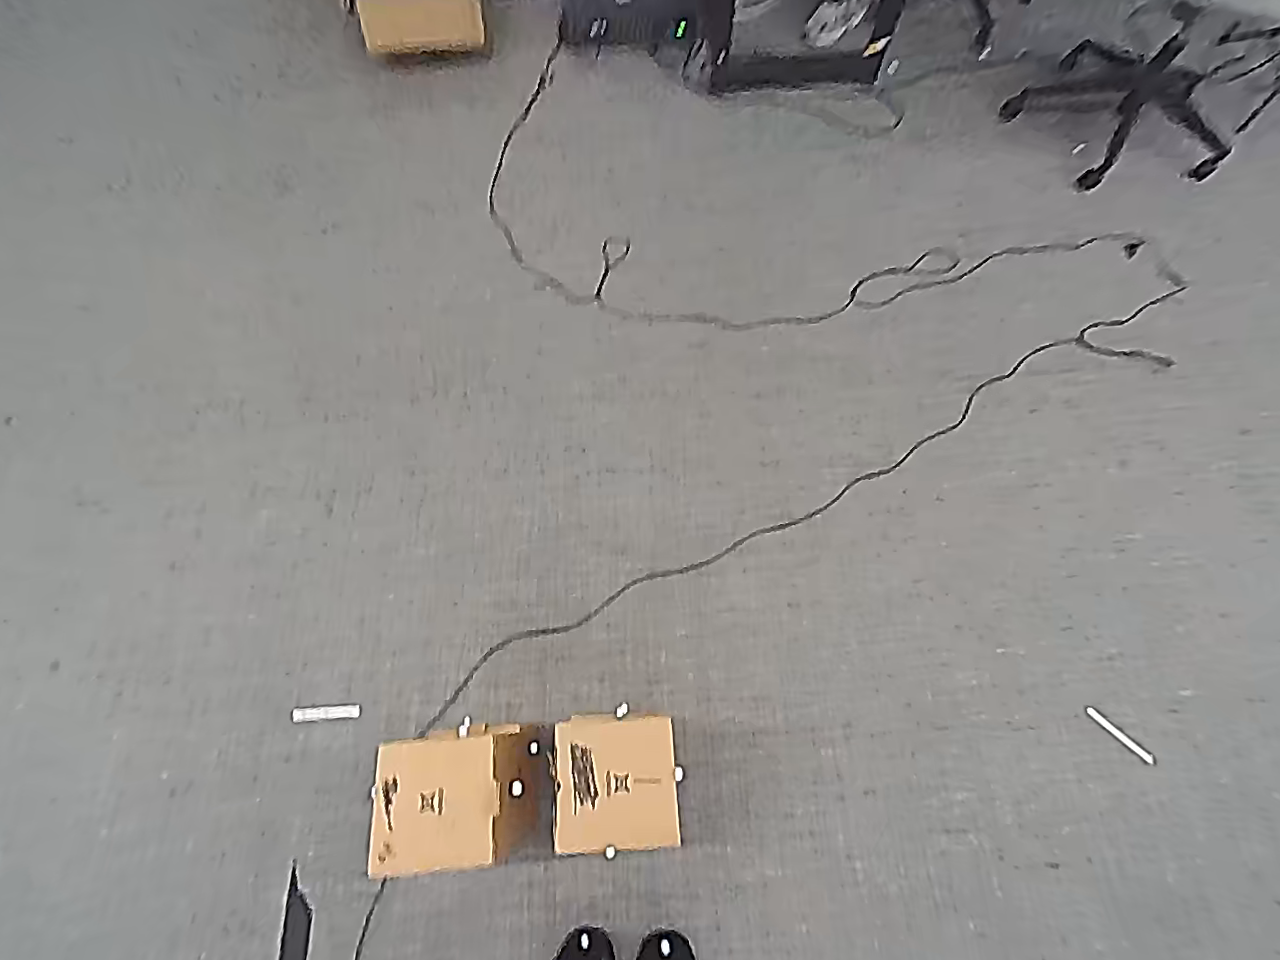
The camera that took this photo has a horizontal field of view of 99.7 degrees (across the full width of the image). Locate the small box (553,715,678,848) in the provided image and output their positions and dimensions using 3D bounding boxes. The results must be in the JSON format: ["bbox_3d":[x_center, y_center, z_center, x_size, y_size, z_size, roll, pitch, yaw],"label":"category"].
[{"bbox_3d":[-0.036,0.465,0.853,0.179,0.176,0.168,-2,67,-2],"label":"small box"}]

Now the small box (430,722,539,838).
[{"bbox_3d":[-0.285,0.546,0.998,0.168,0.176,0.179,-4,68,0],"label":"small box"}]

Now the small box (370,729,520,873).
[{"bbox_3d":[-0.289,0.488,0.846,0.179,0.176,0.168,-4,67,-1],"label":"small box"}]
